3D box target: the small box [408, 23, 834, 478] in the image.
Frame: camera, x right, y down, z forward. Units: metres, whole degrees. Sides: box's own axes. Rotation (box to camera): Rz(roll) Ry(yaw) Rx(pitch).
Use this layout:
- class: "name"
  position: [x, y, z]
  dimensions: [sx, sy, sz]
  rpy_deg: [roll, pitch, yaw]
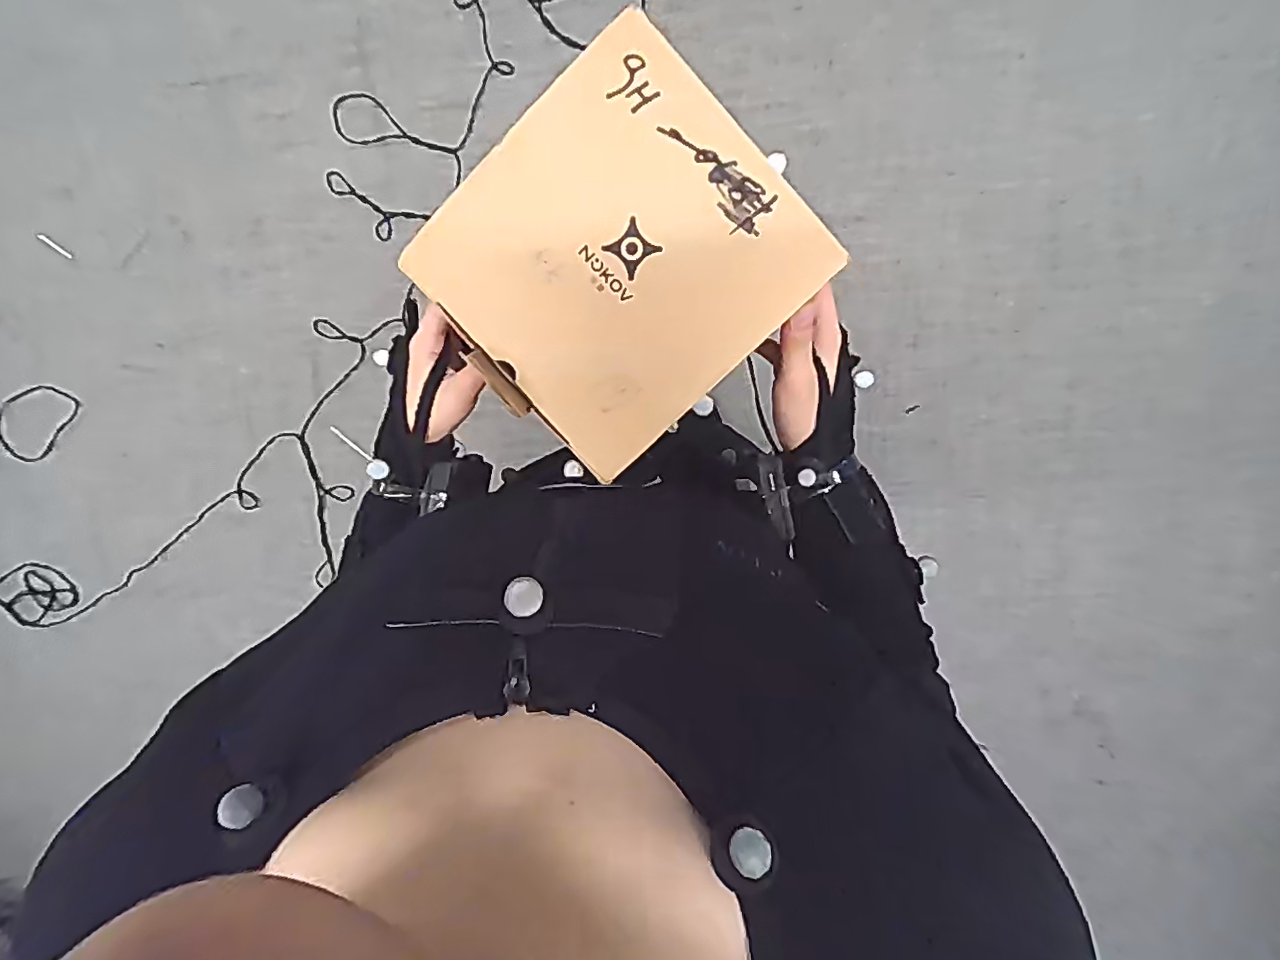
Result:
- class: "small box"
  position: [-0.007, -0.127, 0.368]
  dimensions: [0.179, 0.176, 0.168]
  rpy_deg: [-43, 95, 9]
